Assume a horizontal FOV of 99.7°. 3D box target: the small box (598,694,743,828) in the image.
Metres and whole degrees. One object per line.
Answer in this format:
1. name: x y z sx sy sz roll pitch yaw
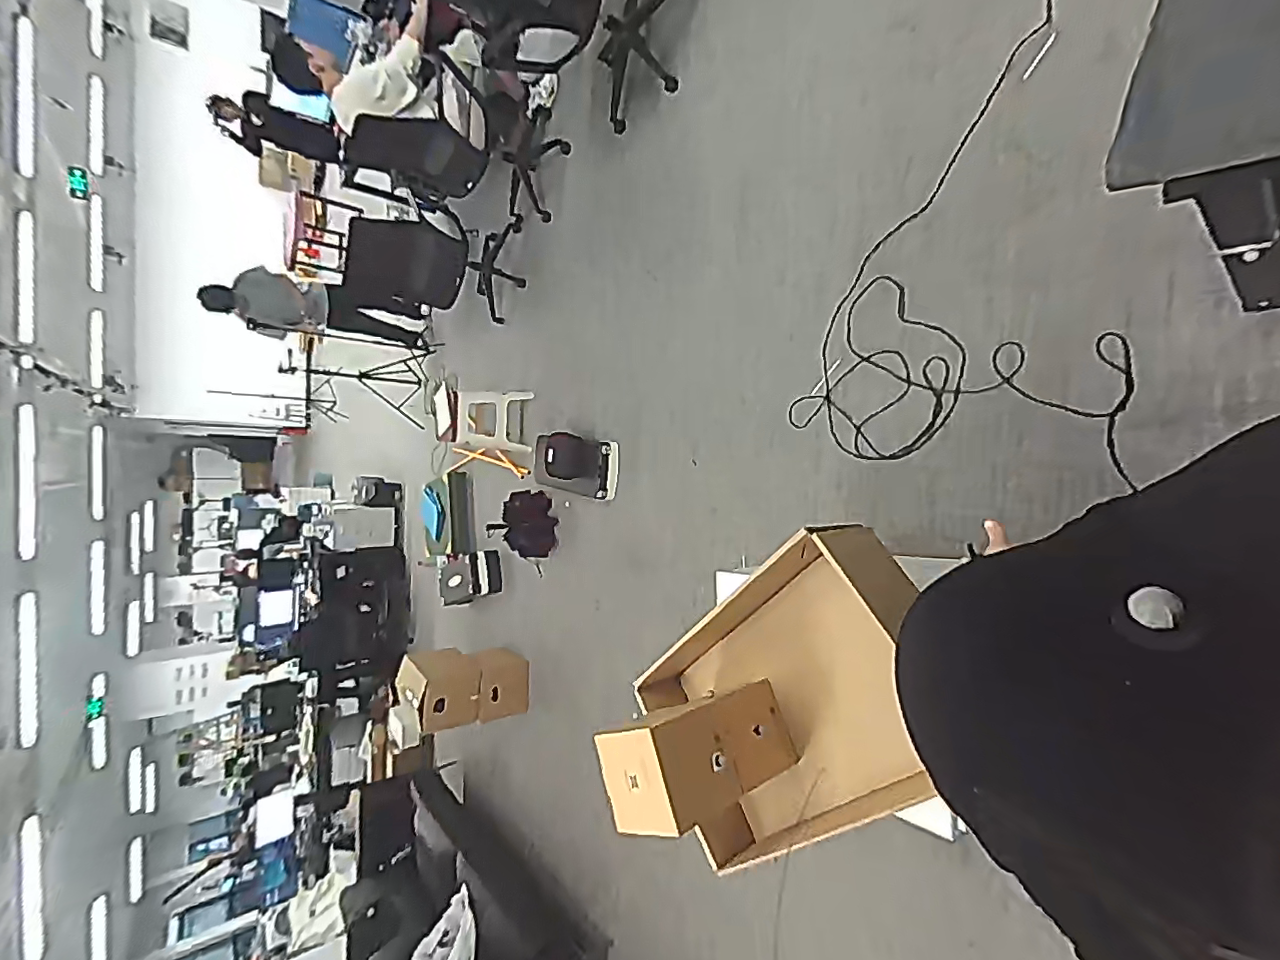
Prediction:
1. small box: 0.055 0.506 0.986 0.179 0.176 0.168 -35 66 44
